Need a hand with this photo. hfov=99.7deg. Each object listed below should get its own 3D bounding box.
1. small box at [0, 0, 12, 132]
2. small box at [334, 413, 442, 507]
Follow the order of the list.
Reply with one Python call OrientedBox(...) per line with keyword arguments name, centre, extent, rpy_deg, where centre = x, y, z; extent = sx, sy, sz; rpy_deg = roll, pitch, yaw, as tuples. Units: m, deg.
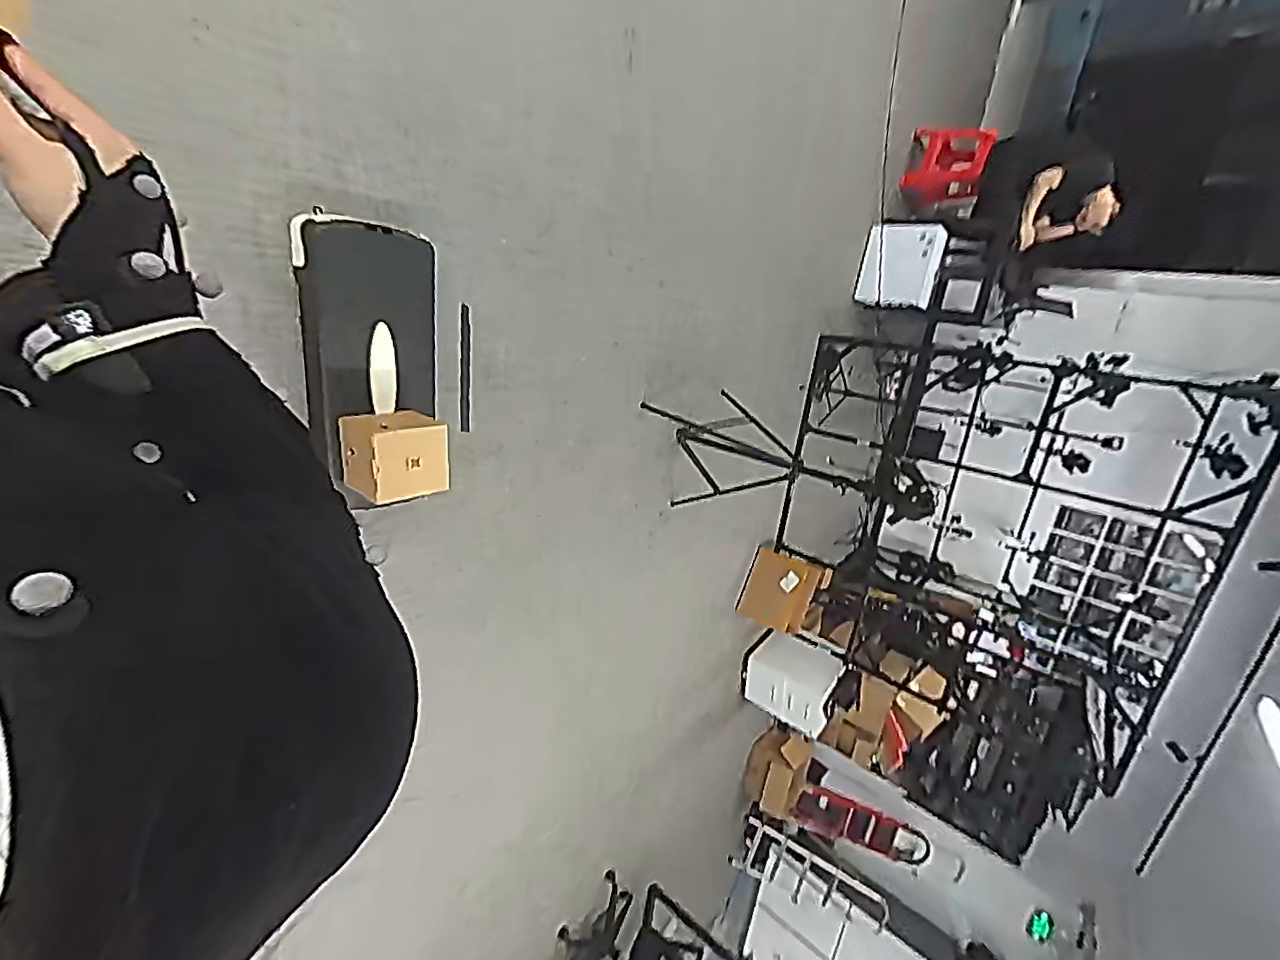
OrientedBox(name="small box", centre=(-0.460, -0.301, 0.275), extent=(0.179, 0.176, 0.168), rpy_deg=(-6, 104, -47))
OrientedBox(name="small box", centre=(-0.588, -0.055, 1.269), extent=(0.179, 0.176, 0.168), rpy_deg=(-16, 119, -48))
